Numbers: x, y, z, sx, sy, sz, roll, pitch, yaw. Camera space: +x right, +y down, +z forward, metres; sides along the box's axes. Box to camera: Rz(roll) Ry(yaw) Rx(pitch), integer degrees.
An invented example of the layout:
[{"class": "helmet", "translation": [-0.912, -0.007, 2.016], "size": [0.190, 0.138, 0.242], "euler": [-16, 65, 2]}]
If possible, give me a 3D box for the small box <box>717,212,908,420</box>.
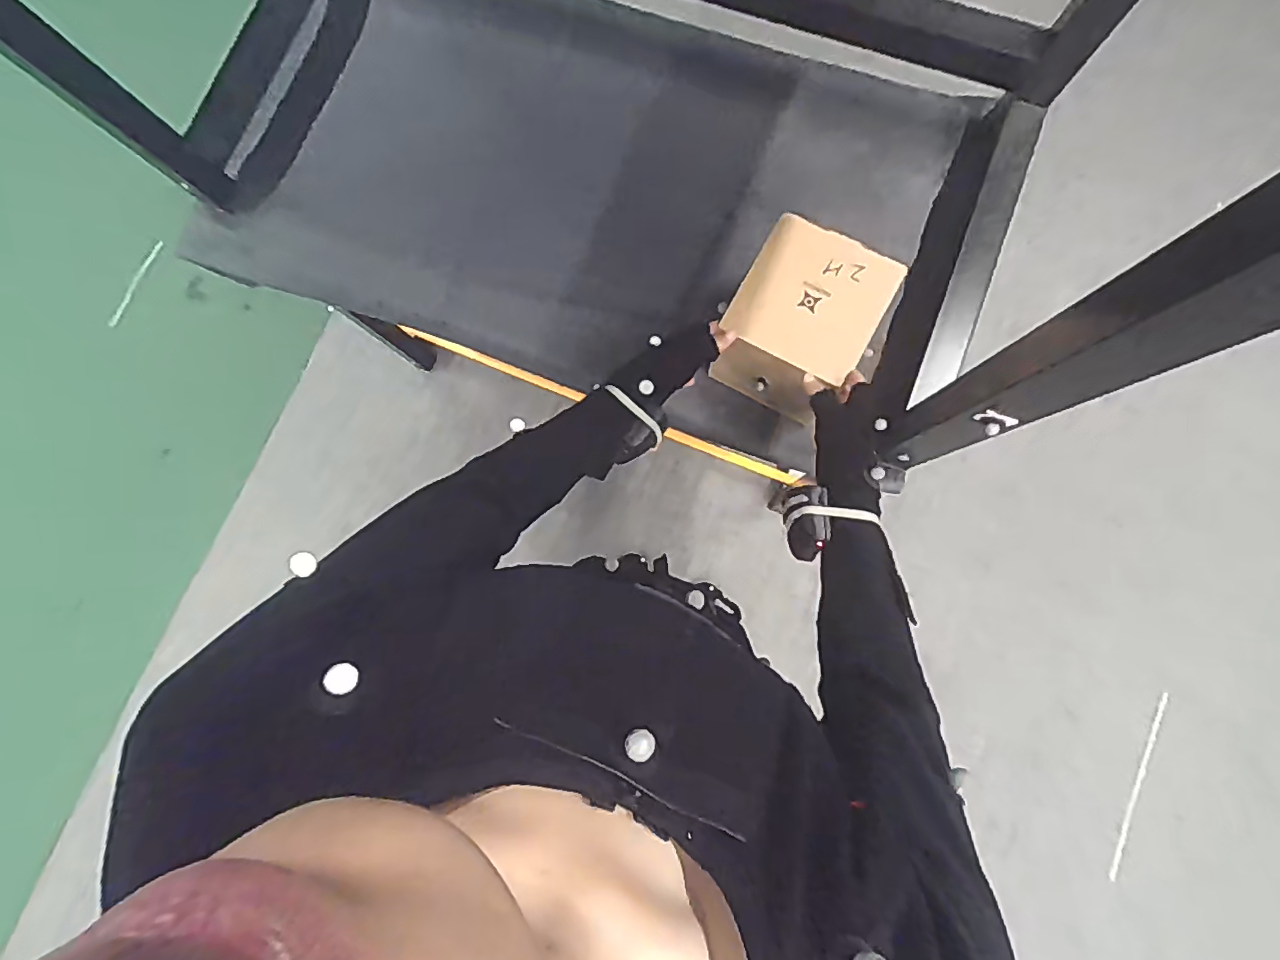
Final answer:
[{"class": "small box", "translation": [0.213, -0.203, 0.720], "size": [0.168, 0.176, 0.179], "euler": [29, 84, 7]}]
